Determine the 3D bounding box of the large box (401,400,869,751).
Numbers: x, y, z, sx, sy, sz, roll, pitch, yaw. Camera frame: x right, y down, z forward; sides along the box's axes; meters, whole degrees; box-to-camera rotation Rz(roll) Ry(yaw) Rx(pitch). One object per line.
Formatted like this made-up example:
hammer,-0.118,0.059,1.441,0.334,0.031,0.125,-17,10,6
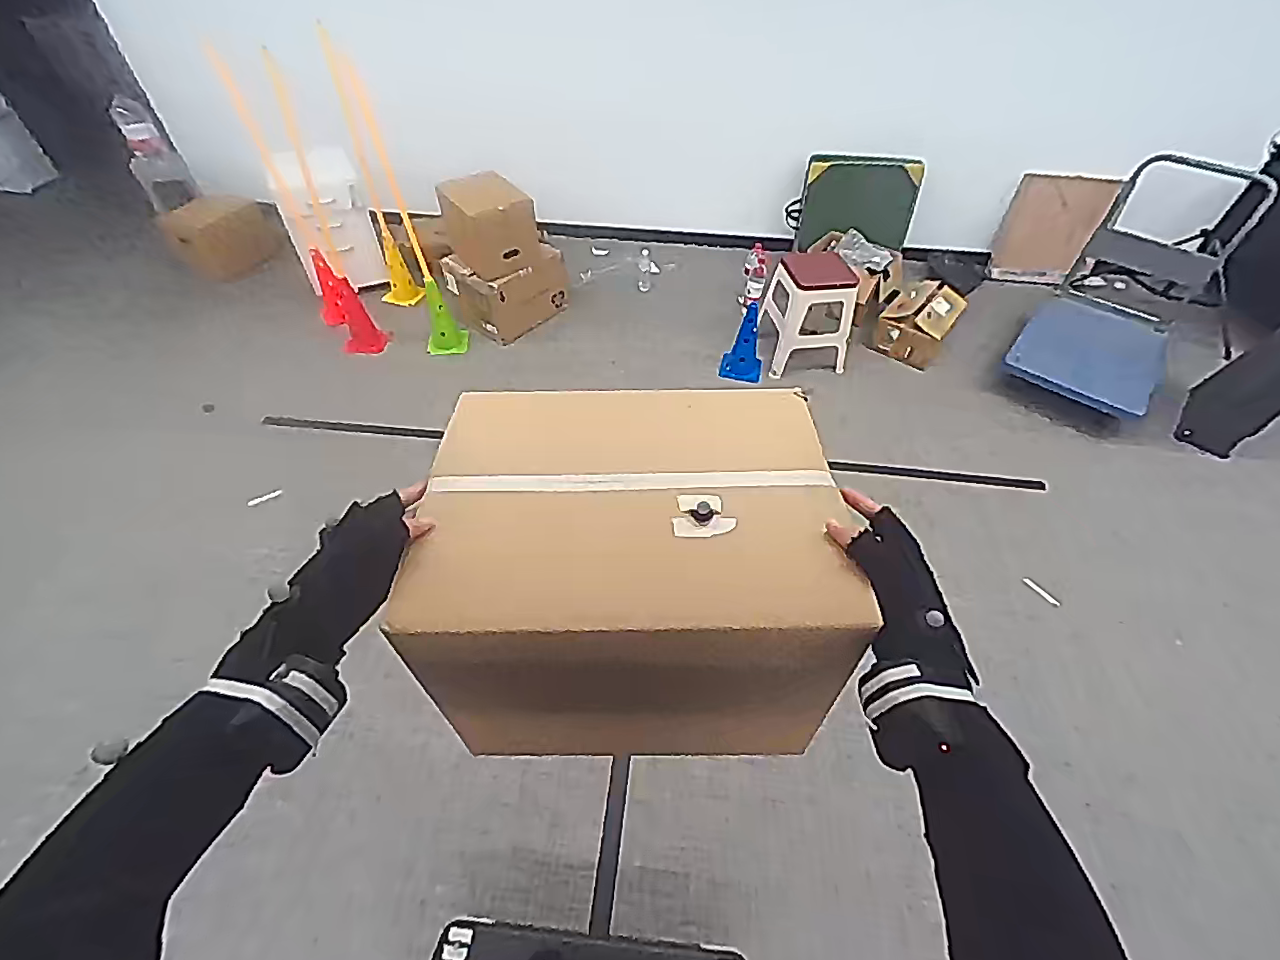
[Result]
large box,-0.007,0.116,0.660,0.408,0.320,0.320,0,47,0

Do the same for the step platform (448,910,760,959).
step platform,-0.079,1.110,1.124,0.684,0.204,0.286,6,49,1
